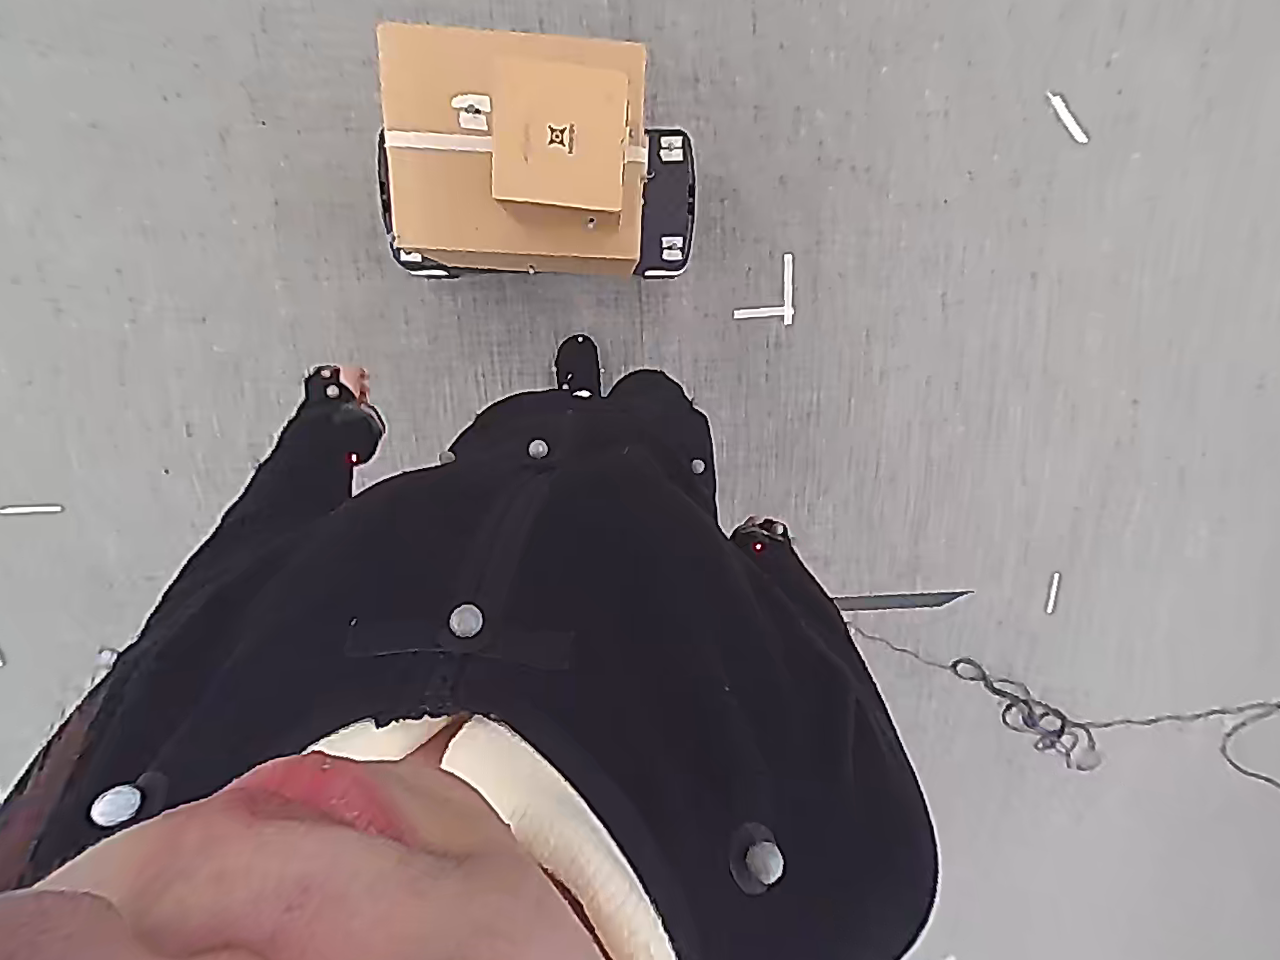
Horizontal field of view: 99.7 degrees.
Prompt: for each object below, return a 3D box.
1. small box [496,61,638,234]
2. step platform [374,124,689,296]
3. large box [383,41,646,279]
[{"bbox_3d":[-0.101,-0.458,0.774,0.179,0.176,0.168,4,105,-4],"label":"small box"},{"bbox_3d":[-0.230,-0.598,1.230,0.684,0.204,0.286,3,105,-4],"label":"step platform"},{"bbox_3d":[-0.195,-0.547,0.998,0.408,0.320,0.320,1,104,-3],"label":"large box"}]
